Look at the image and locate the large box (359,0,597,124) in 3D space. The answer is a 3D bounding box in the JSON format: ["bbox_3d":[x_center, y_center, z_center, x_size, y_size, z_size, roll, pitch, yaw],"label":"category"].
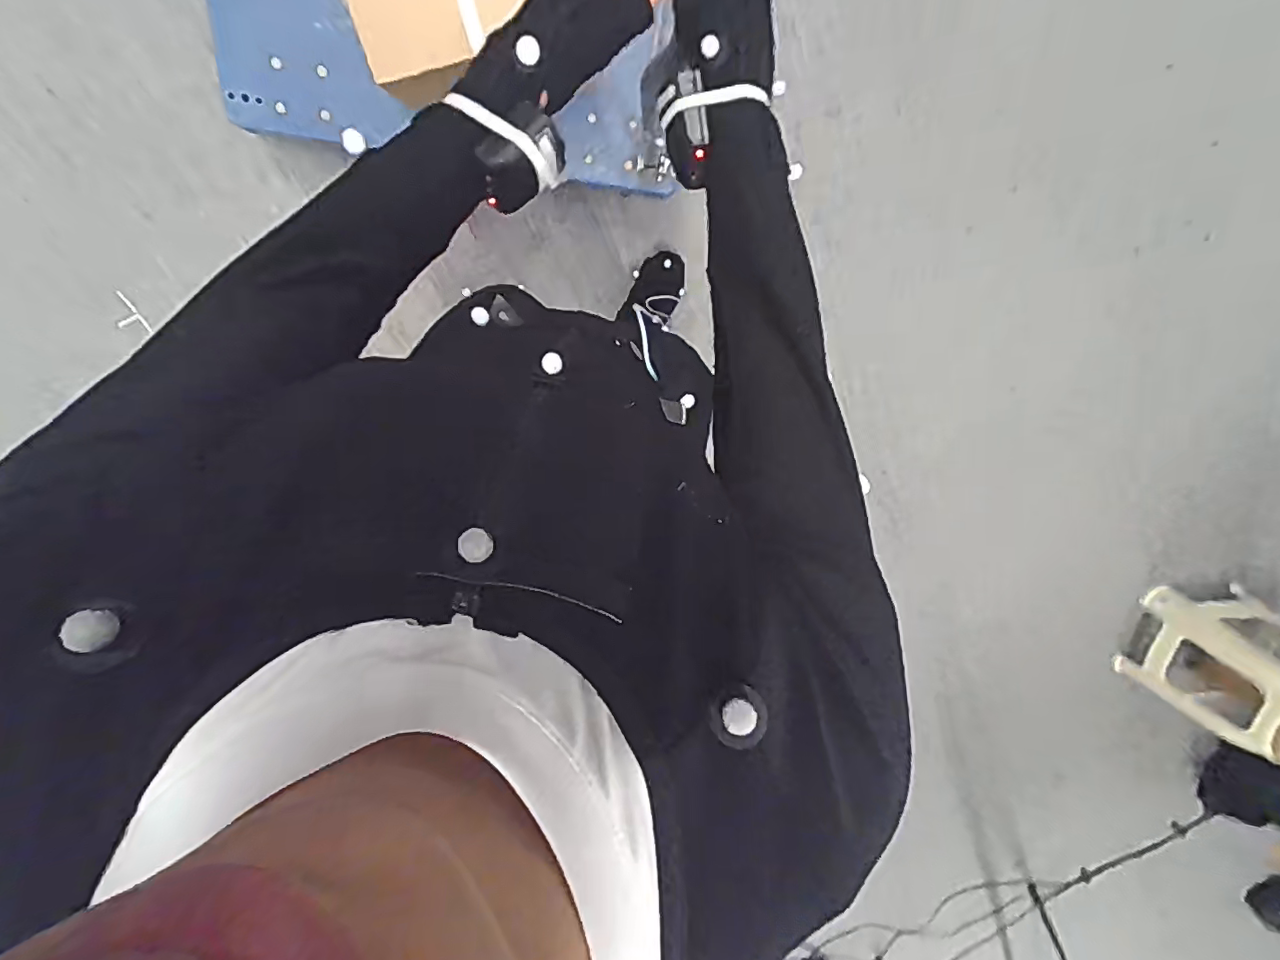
[{"bbox_3d":[-0.268,-0.839,0.824,0.320,0.320,0.408,-14,114,4],"label":"large box"}]
